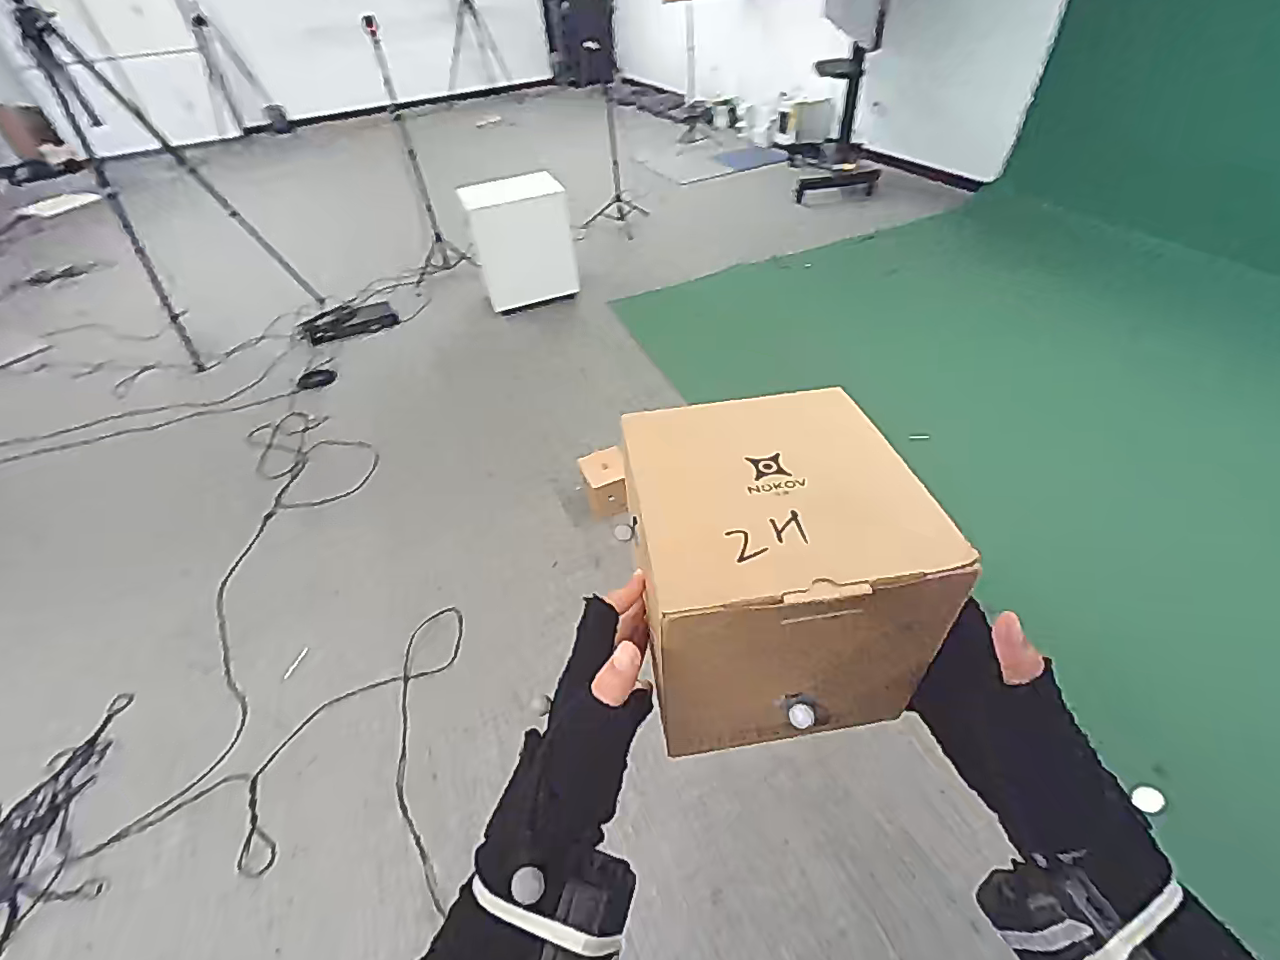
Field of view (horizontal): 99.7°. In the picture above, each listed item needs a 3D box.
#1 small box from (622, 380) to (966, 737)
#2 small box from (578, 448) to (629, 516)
[{"bbox_3d":[0.081,0.051,0.387,0.168,0.176,0.179,-8,41,-4],"label":"small box"},{"bbox_3d":[-0.114,0.015,2.013,0.168,0.176,0.179,-20,45,-15],"label":"small box"}]
